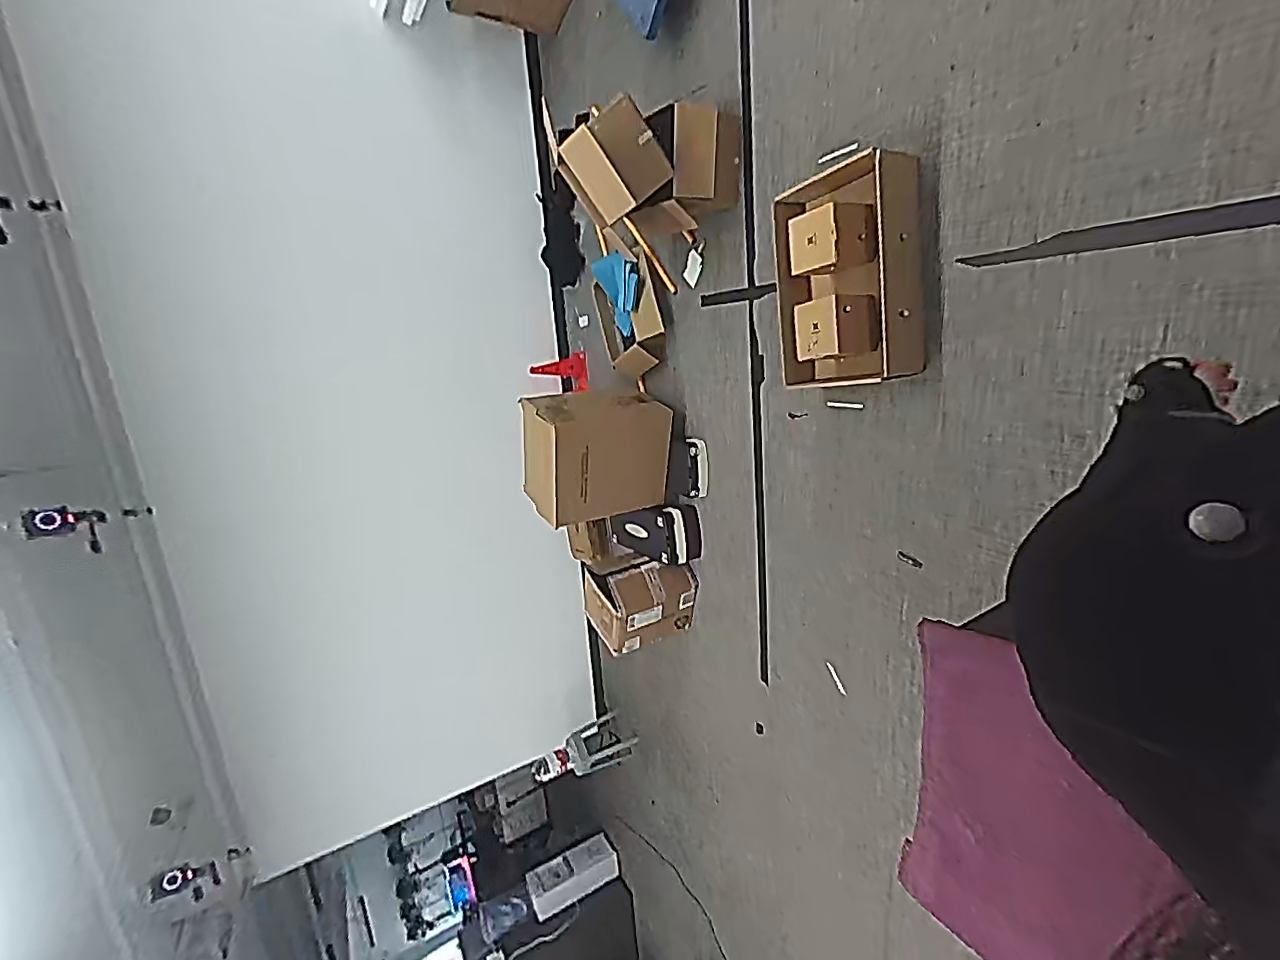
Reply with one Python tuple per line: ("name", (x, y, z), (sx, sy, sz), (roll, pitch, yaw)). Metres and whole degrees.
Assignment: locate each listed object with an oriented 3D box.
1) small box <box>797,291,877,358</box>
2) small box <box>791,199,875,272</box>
("small box", (0.613, -0.480, 1.683), (0.168, 0.176, 0.179), (7, 106, 62))
("small box", (0.585, -0.735, 1.642), (0.179, 0.176, 0.168), (10, 110, 60))
